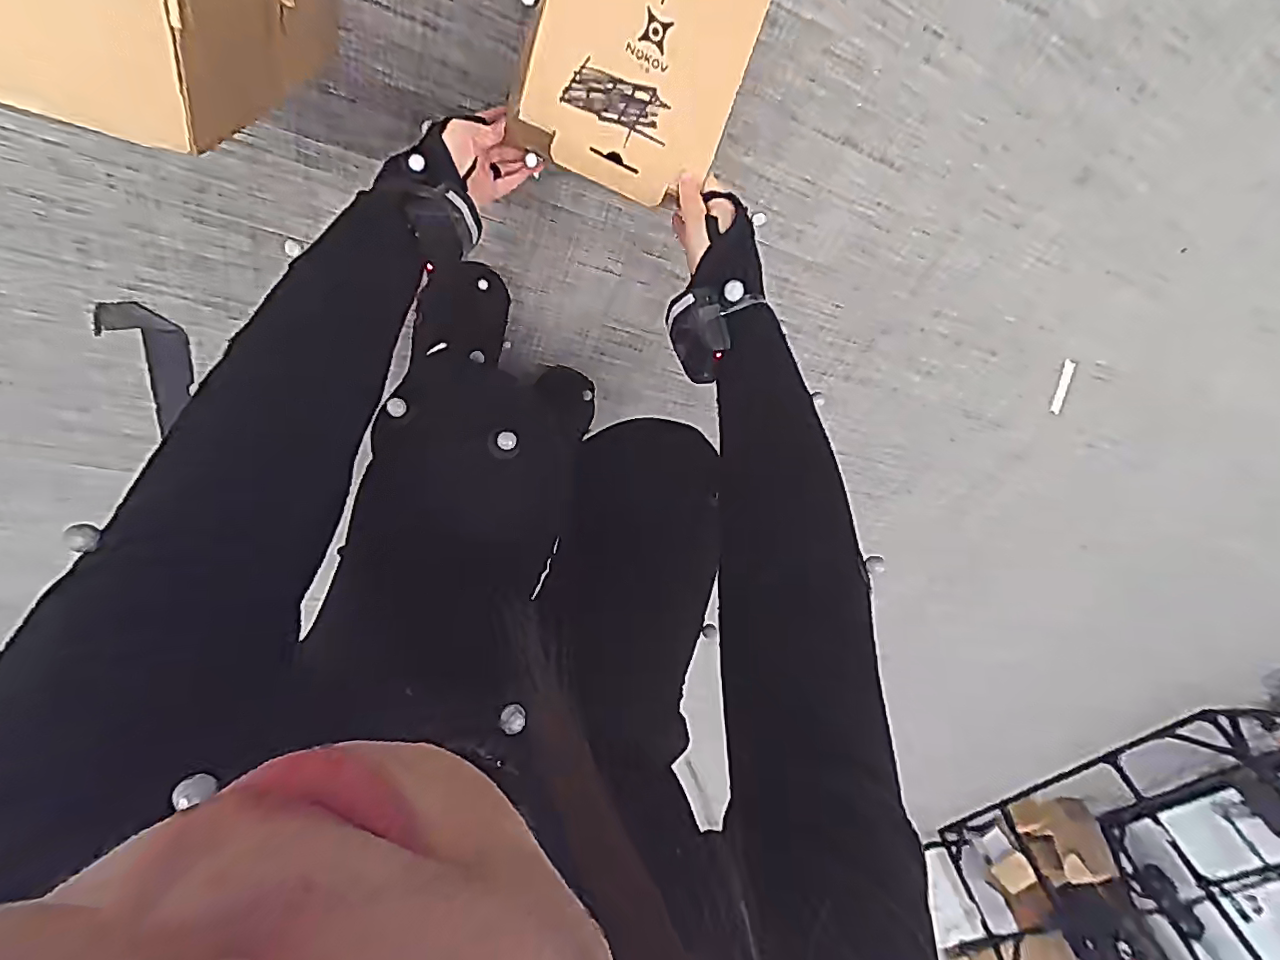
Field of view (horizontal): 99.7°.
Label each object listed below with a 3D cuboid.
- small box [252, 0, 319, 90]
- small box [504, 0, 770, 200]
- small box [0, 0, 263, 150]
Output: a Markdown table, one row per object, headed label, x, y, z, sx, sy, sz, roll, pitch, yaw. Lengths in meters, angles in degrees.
| label | x | y | z | sx | sy | sz | roll | pitch | yaw |
| --- | --- | --- | --- | --- | --- | --- | --- | --- | --- |
| small box | -0.336 | -0.419 | 0.381 | 0.179 | 0.176 | 0.168 | 10 | 131 | -23 |
| small box | -0.017 | -0.369 | 0.476 | 0.168 | 0.176 | 0.179 | 12 | 111 | -24 |
| small box | -0.312 | -0.303 | 0.268 | 0.179 | 0.176 | 0.168 | 9 | 132 | -20 |
